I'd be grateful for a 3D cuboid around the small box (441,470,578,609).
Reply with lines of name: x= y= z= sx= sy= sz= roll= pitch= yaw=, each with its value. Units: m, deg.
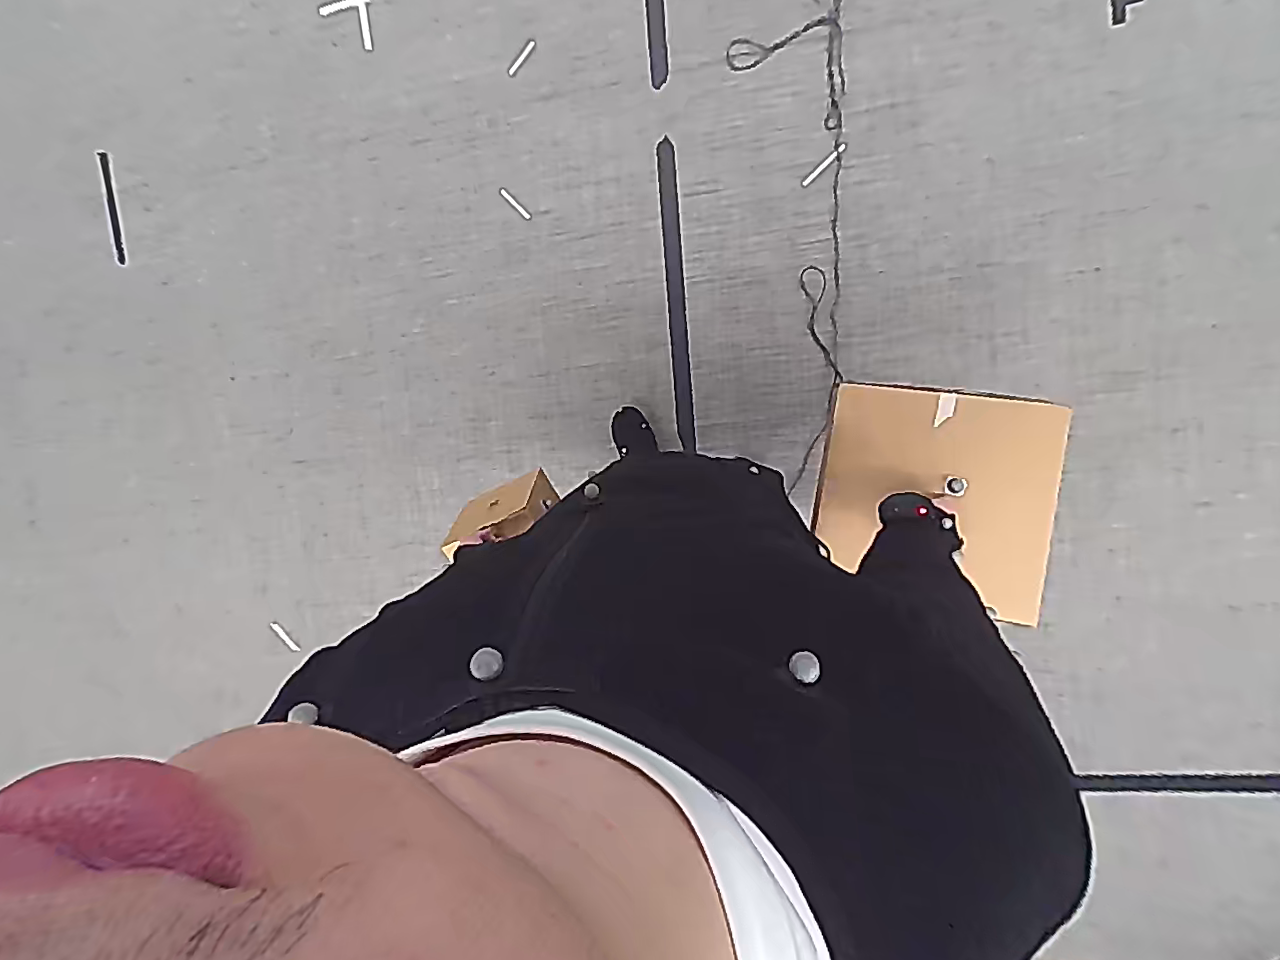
small box: x=-0.226 y=0.113 z=0.993 sx=0.168 sy=0.179 sz=0.176 roll=-24 pitch=112 yaw=9
